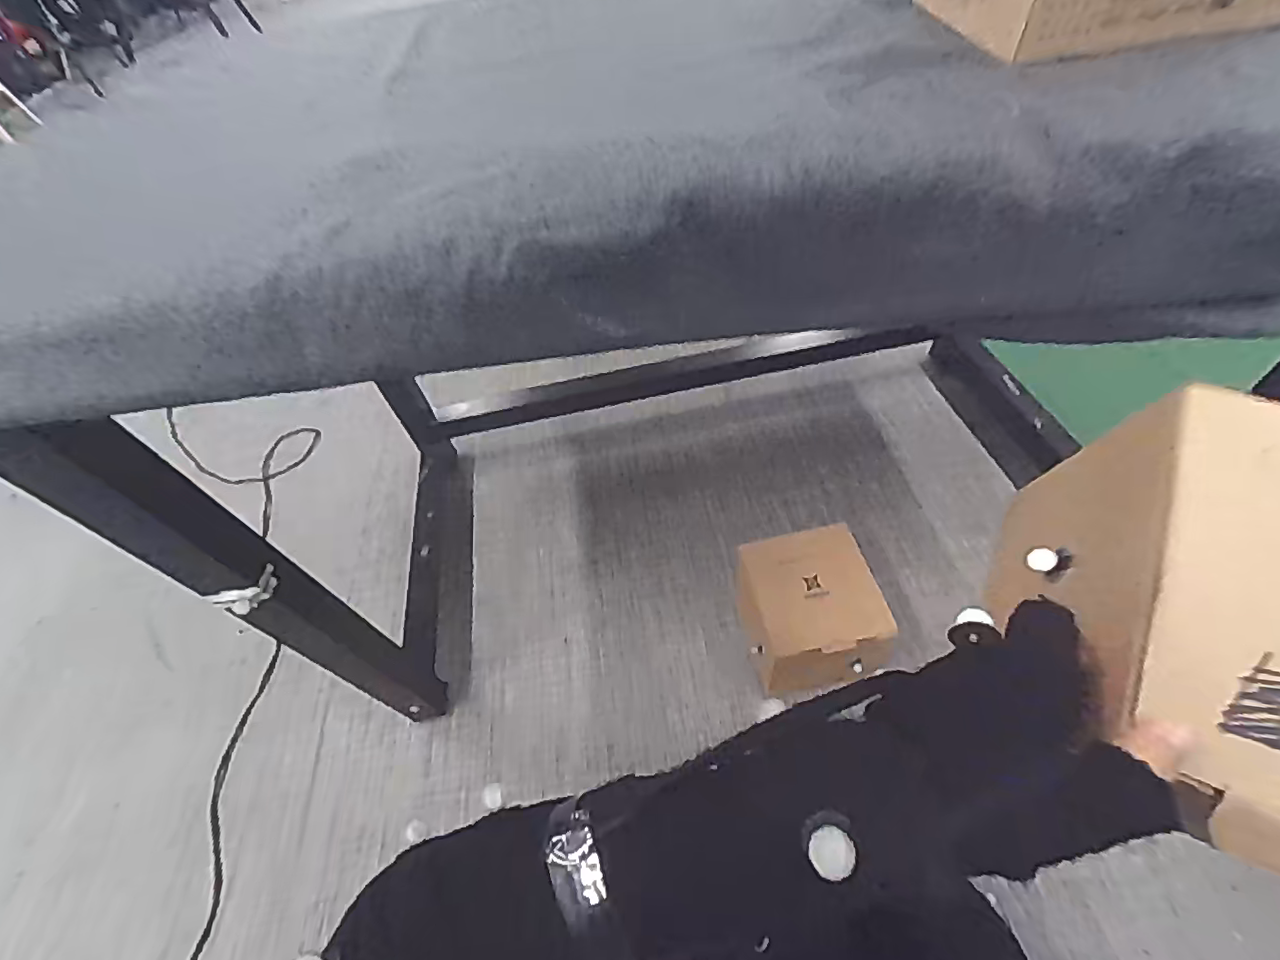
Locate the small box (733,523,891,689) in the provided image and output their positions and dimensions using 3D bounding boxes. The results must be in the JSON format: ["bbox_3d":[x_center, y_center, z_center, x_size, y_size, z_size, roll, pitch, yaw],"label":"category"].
[{"bbox_3d":[0.242,0.194,0.805,0.168,0.176,0.179,-12,50,-2],"label":"small box"}]
